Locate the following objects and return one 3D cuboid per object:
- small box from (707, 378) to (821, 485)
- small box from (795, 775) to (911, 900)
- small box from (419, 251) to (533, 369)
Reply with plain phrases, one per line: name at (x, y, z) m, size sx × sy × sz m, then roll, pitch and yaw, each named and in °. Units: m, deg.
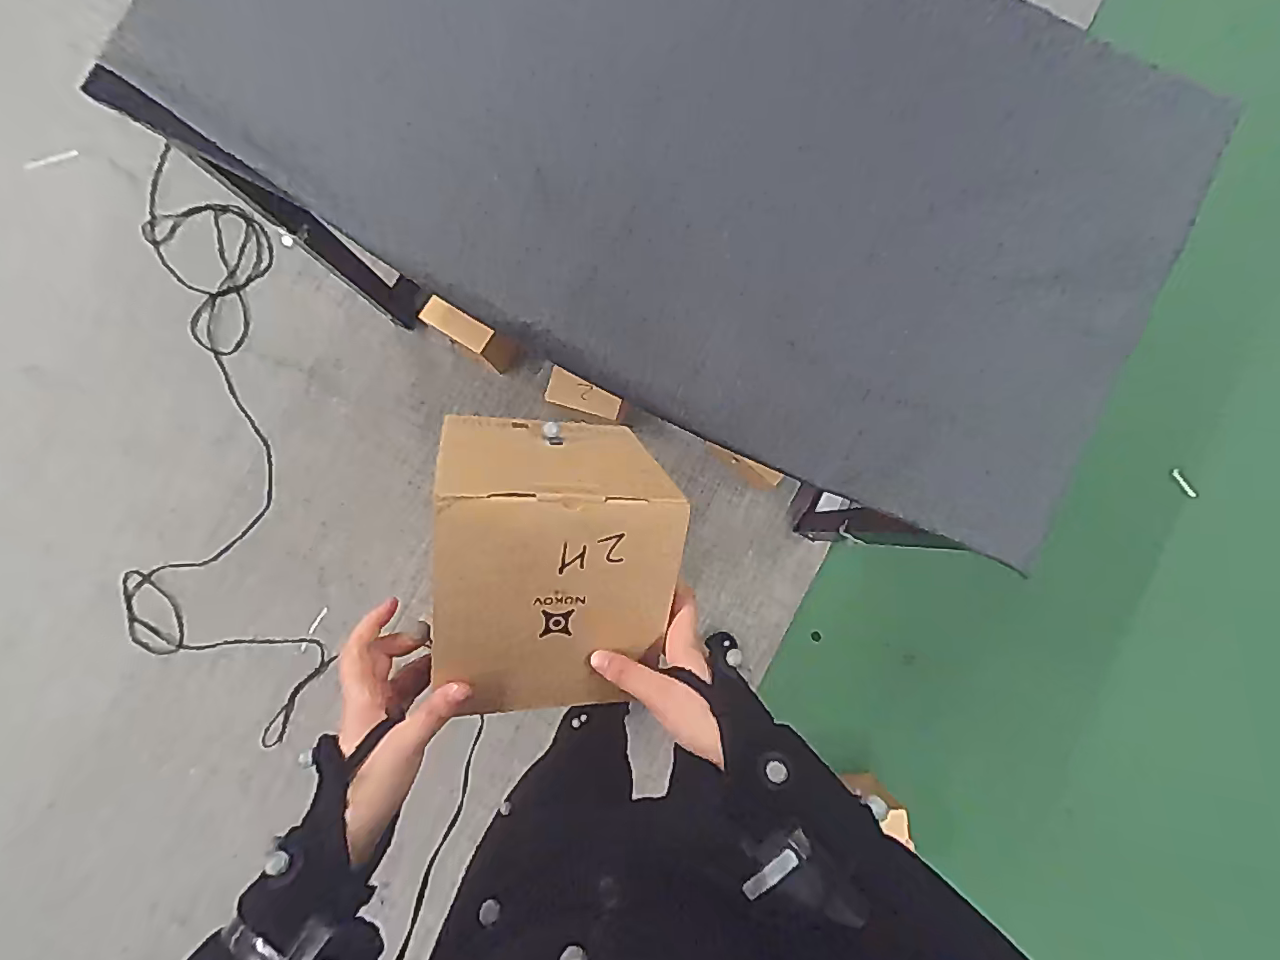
small box at (0.272, -0.100, 1.236) m, size 0.179 × 0.176 × 0.168 m, roll 41°, pitch 87°, yaw 2°
small box at (0.451, 0.757, 1.164) m, size 0.179 × 0.176 × 0.168 m, roll -4°, pitch 85°, yaw -1°
small box at (-0.373, -0.387, 1.269) m, size 0.168 × 0.176 × 0.179 m, roll 32°, pitch 86°, yaw 3°
